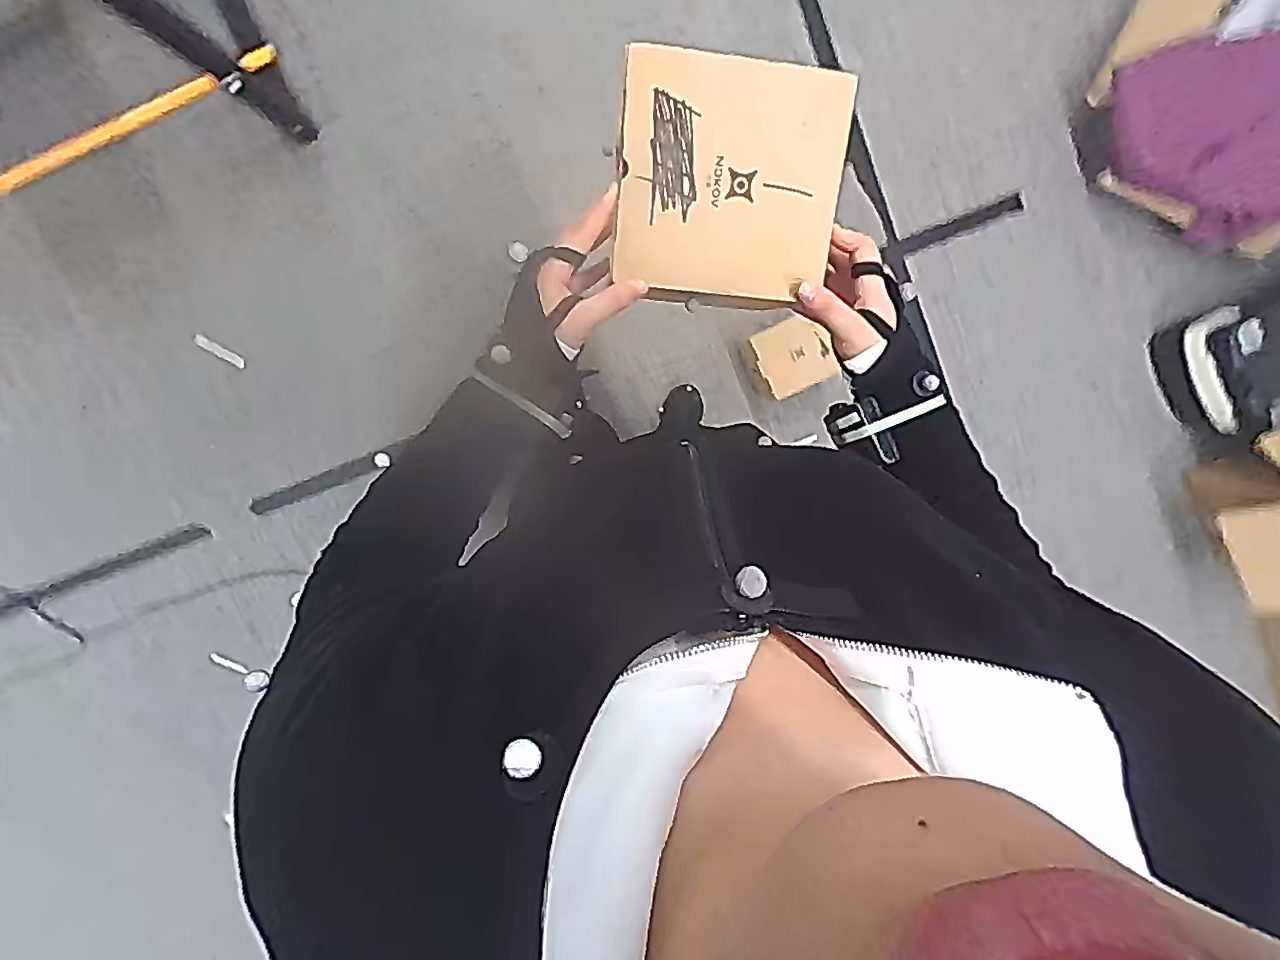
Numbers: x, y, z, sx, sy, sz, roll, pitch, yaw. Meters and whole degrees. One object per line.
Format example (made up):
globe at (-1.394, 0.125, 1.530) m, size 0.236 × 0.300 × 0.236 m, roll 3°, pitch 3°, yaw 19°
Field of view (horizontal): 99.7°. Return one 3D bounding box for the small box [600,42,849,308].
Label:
small box at (0.056, -0.247, 0.484) m, size 0.179 × 0.176 × 0.168 m, roll 3°, pitch 106°, yaw -6°

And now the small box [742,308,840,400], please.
small box at (0.368, -0.310, 1.354) m, size 0.179 × 0.176 × 0.168 m, roll -24°, pitch 100°, yaw 5°
